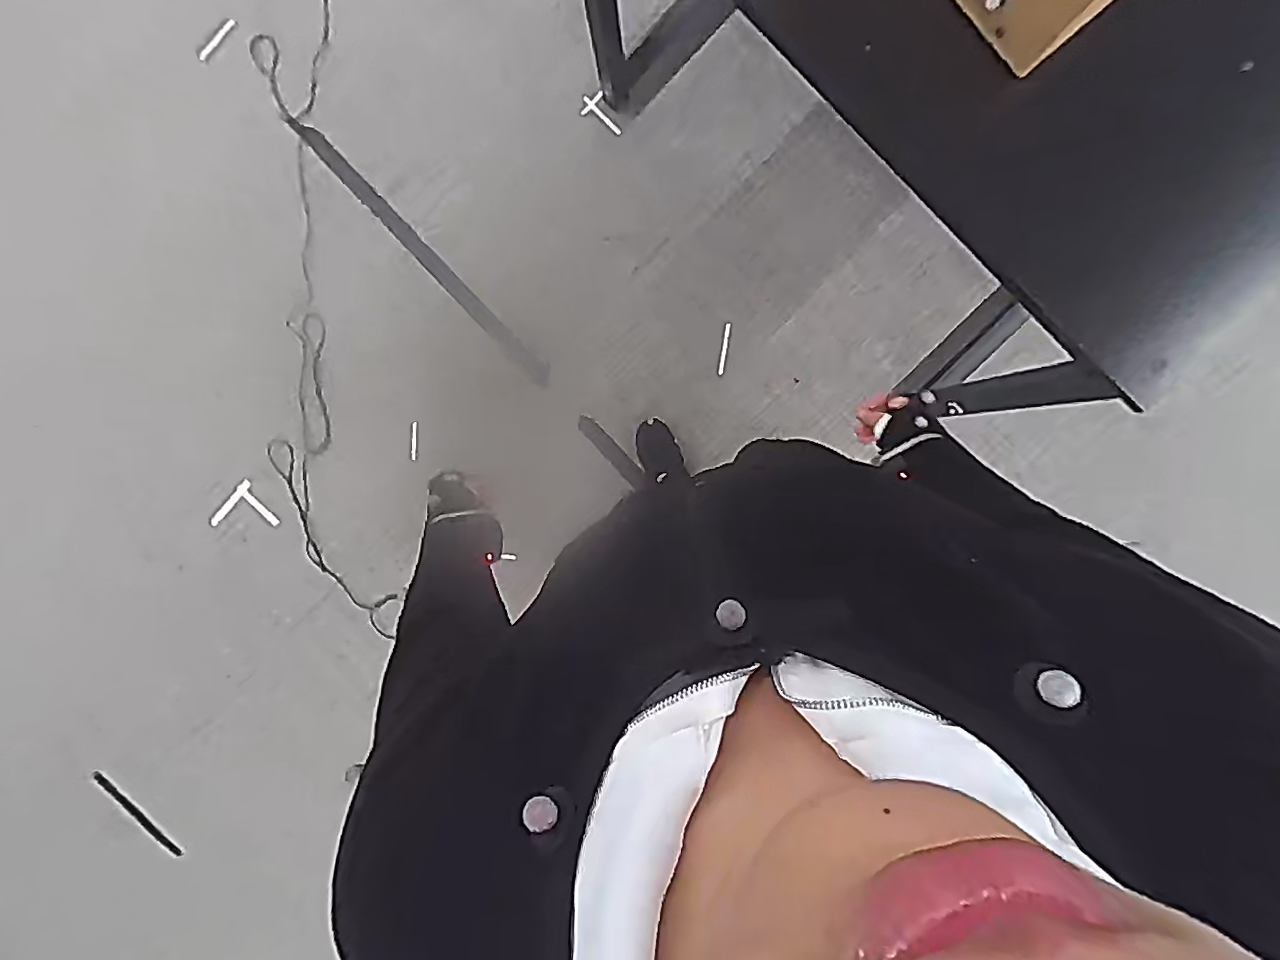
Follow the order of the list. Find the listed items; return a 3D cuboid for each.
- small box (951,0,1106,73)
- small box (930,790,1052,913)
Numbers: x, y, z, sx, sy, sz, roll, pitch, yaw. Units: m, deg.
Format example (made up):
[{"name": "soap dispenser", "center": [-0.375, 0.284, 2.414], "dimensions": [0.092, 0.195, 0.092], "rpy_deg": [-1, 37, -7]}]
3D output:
[{"name": "small box", "center": [0.501, -0.639, 0.623], "dimensions": [0.179, 0.176, 0.168], "rpy_deg": [-40, 91, 5]}, {"name": "small box", "center": [0.925, 0.980, 1.444], "dimensions": [0.179, 0.176, 0.168], "rpy_deg": [-44, 90, 5]}]
